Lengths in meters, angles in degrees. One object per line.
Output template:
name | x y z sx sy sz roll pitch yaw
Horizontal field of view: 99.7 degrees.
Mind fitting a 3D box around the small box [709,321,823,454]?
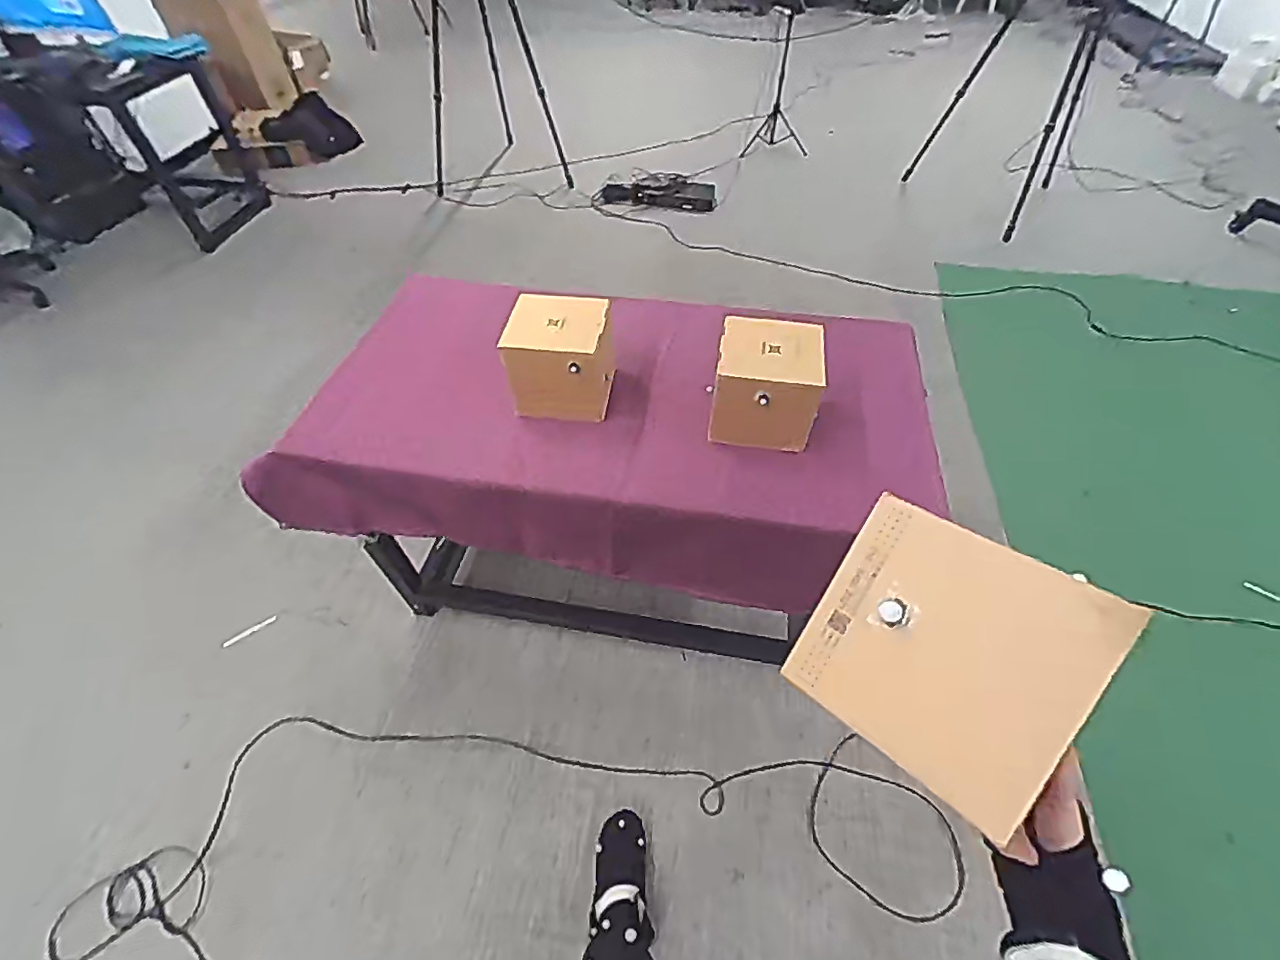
small box | 0.224 -0.165 0.984 0.179 0.176 0.168 8 52 7

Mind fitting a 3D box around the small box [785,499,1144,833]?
small box | 0.252 0.132 0.434 0.176 0.179 0.168 32 96 43

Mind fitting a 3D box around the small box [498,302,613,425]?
small box | -0.151 -0.221 1.040 0.179 0.176 0.168 5 51 4
